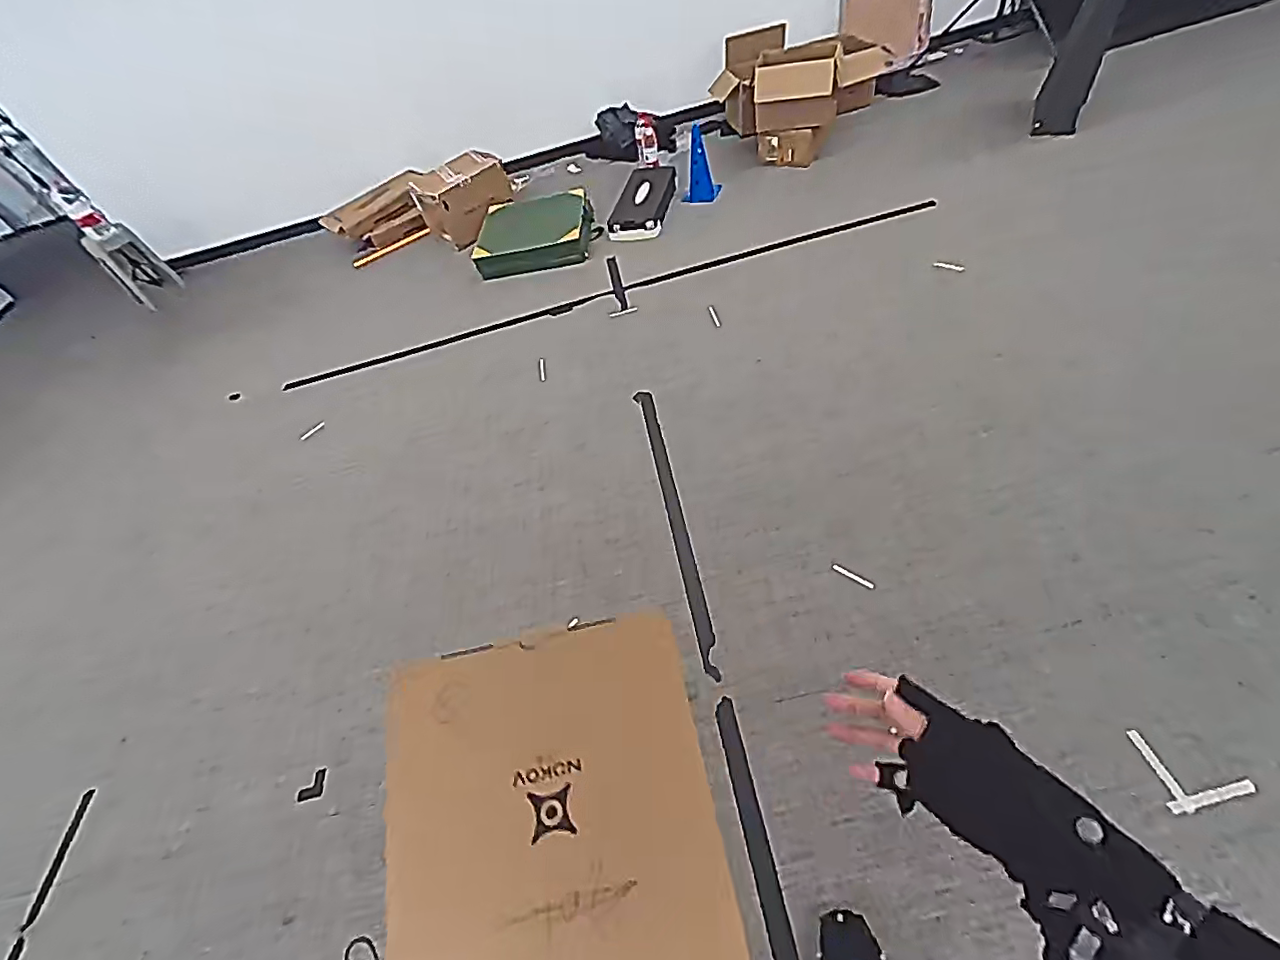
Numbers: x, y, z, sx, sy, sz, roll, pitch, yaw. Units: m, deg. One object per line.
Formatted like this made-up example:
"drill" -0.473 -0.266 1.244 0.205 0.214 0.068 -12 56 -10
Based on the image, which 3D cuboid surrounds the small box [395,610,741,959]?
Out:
"small box" -0.049 0.207 0.361 0.168 0.176 0.179 -11 63 -6
